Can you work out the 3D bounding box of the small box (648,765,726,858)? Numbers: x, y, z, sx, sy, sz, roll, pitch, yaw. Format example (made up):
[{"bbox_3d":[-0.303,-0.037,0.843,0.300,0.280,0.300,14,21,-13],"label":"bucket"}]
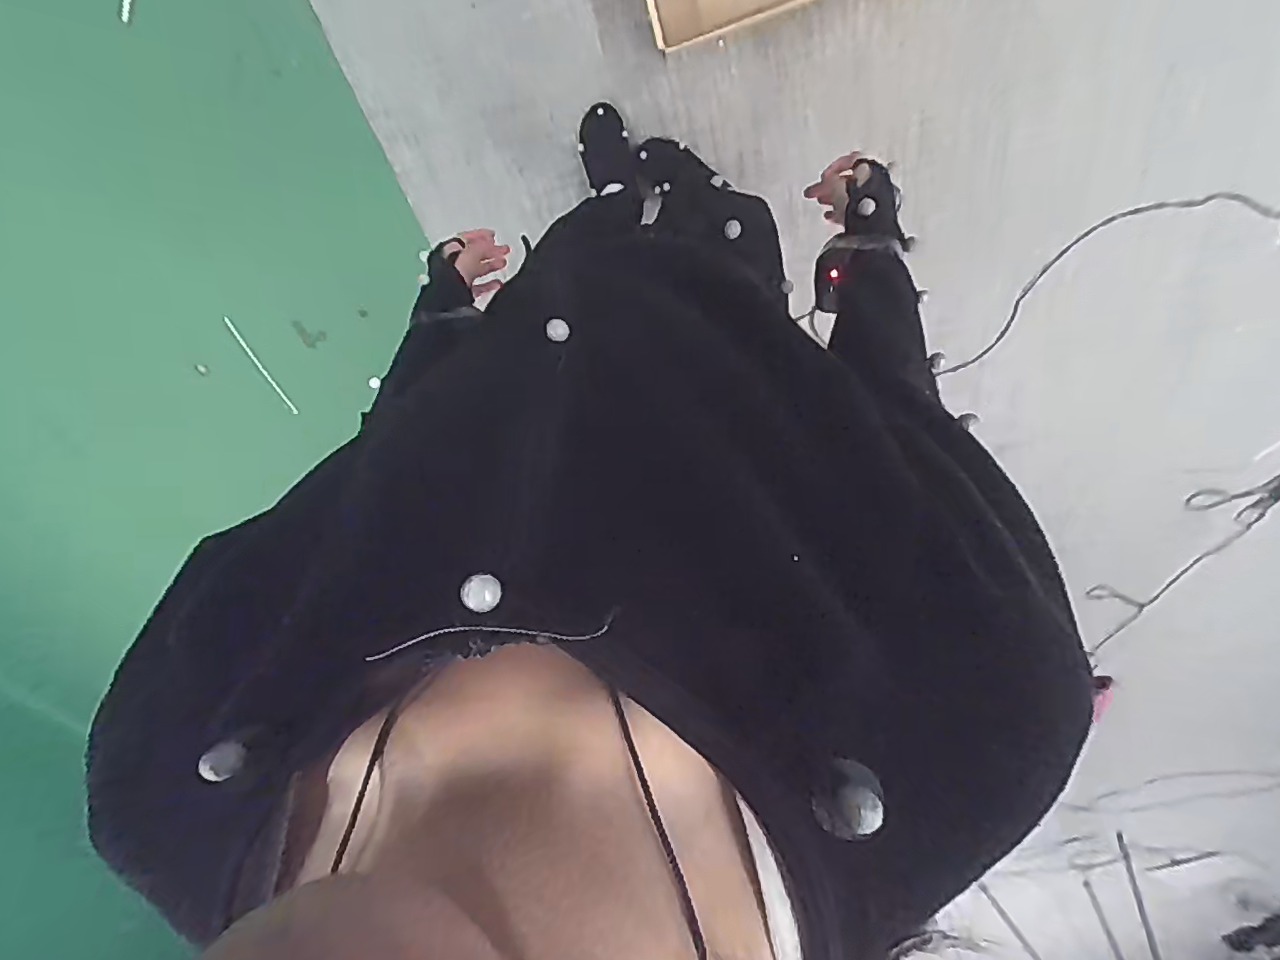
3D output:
[{"bbox_3d":[0.123,0.888,1.453,0.179,0.176,0.168,-12,126,11],"label":"small box"}]
